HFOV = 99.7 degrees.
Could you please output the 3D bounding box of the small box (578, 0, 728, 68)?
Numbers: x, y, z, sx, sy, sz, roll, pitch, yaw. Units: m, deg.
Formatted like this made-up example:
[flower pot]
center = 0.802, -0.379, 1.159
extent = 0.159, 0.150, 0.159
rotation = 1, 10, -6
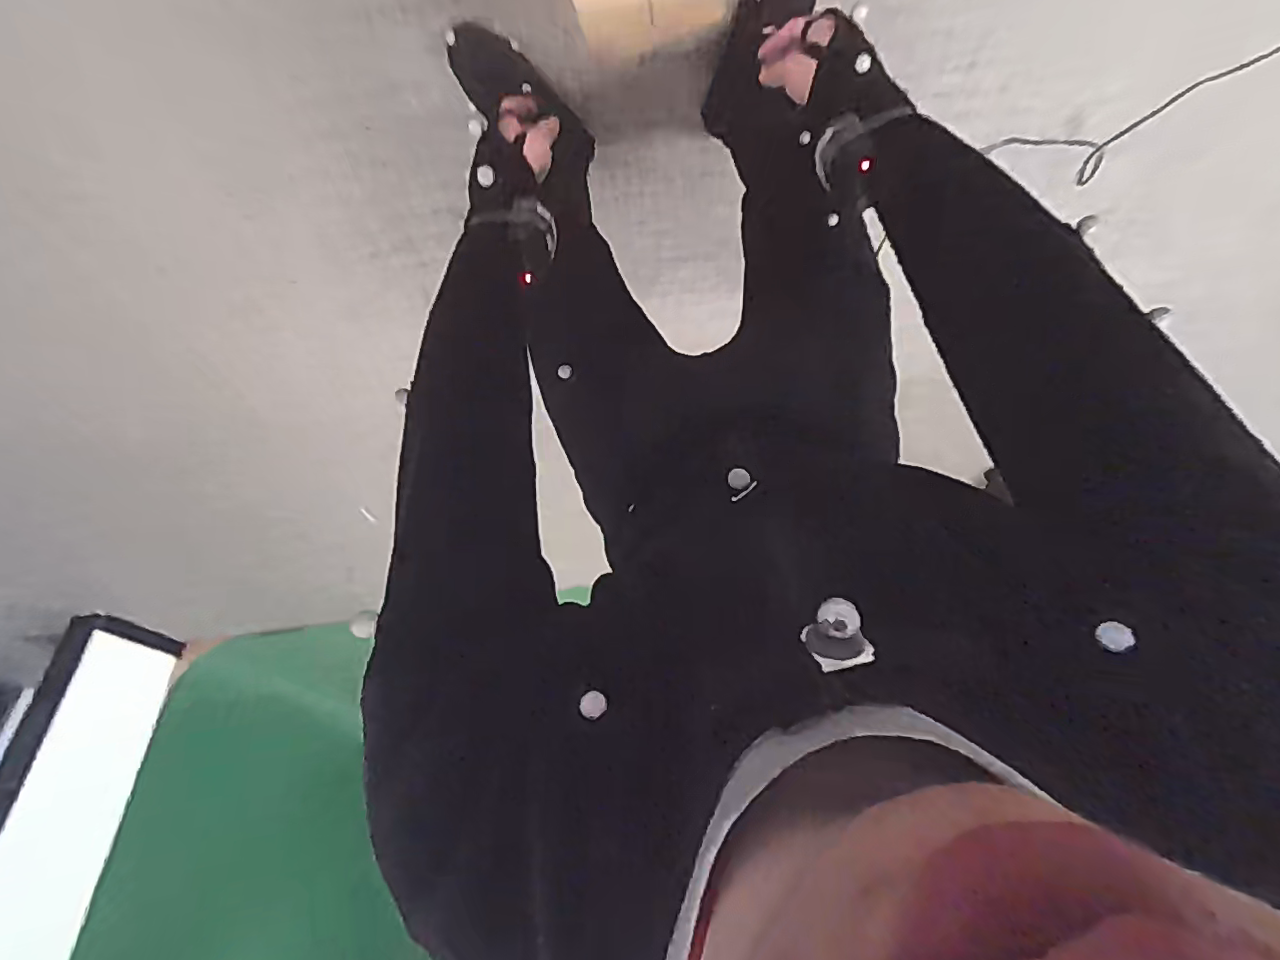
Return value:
[small box]
center = -0.007, -0.633, 0.622
extent = 0.168, 0.176, 0.179
rotation = -15, 146, 12
